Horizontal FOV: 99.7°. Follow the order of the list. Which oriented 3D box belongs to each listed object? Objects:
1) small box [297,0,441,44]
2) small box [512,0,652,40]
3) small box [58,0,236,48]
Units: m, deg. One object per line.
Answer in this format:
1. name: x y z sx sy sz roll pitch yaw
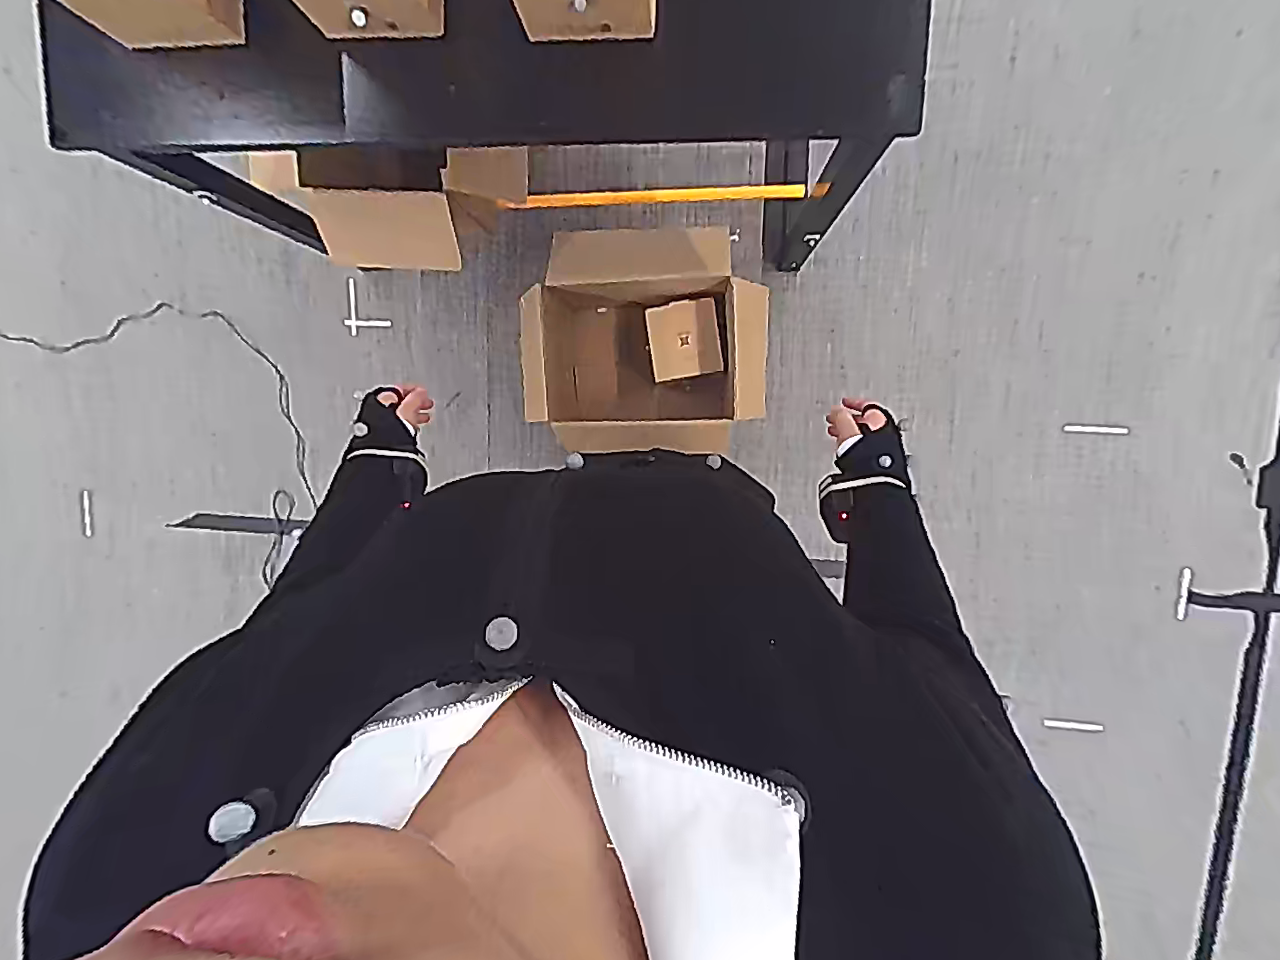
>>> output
1. small box: -0.346 -0.665 0.635 0.168 0.176 0.179 3 97 5
2. small box: -0.071 -0.644 0.616 0.168 0.176 0.179 2 97 5
3. small box: -0.630 -0.666 0.656 0.179 0.176 0.168 1 96 4
